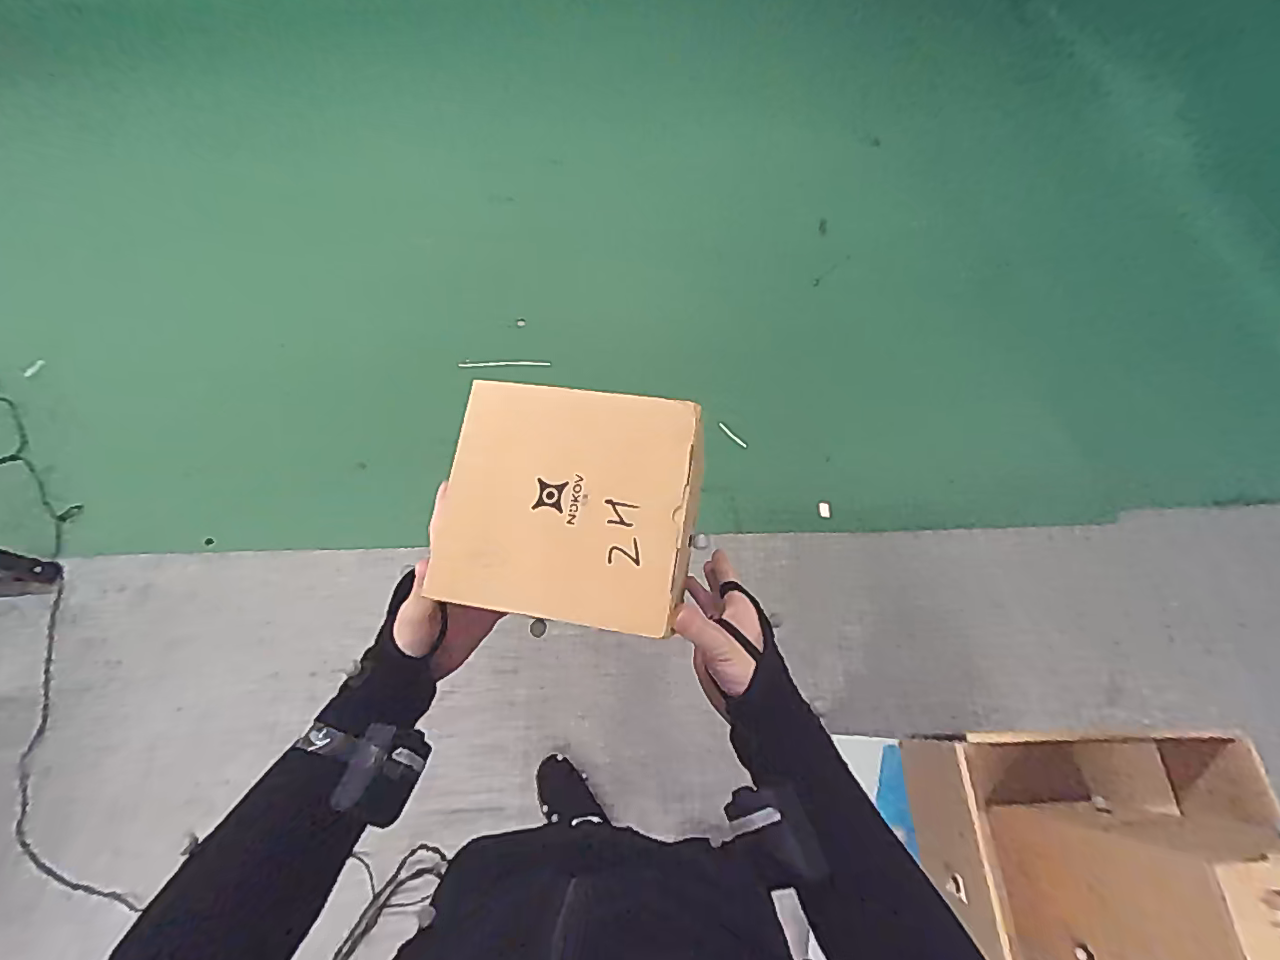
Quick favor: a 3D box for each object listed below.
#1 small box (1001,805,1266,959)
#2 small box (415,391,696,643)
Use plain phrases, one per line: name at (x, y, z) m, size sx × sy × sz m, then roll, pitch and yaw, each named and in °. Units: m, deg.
small box at (0.599, 0.520, 0.679) m, size 0.168 × 0.176 × 0.179 m, roll -2°, pitch 68°, yaw -2°
small box at (-0.052, 0.038, 0.461) m, size 0.179 × 0.176 × 0.168 m, roll 7°, pitch 78°, yaw 9°
